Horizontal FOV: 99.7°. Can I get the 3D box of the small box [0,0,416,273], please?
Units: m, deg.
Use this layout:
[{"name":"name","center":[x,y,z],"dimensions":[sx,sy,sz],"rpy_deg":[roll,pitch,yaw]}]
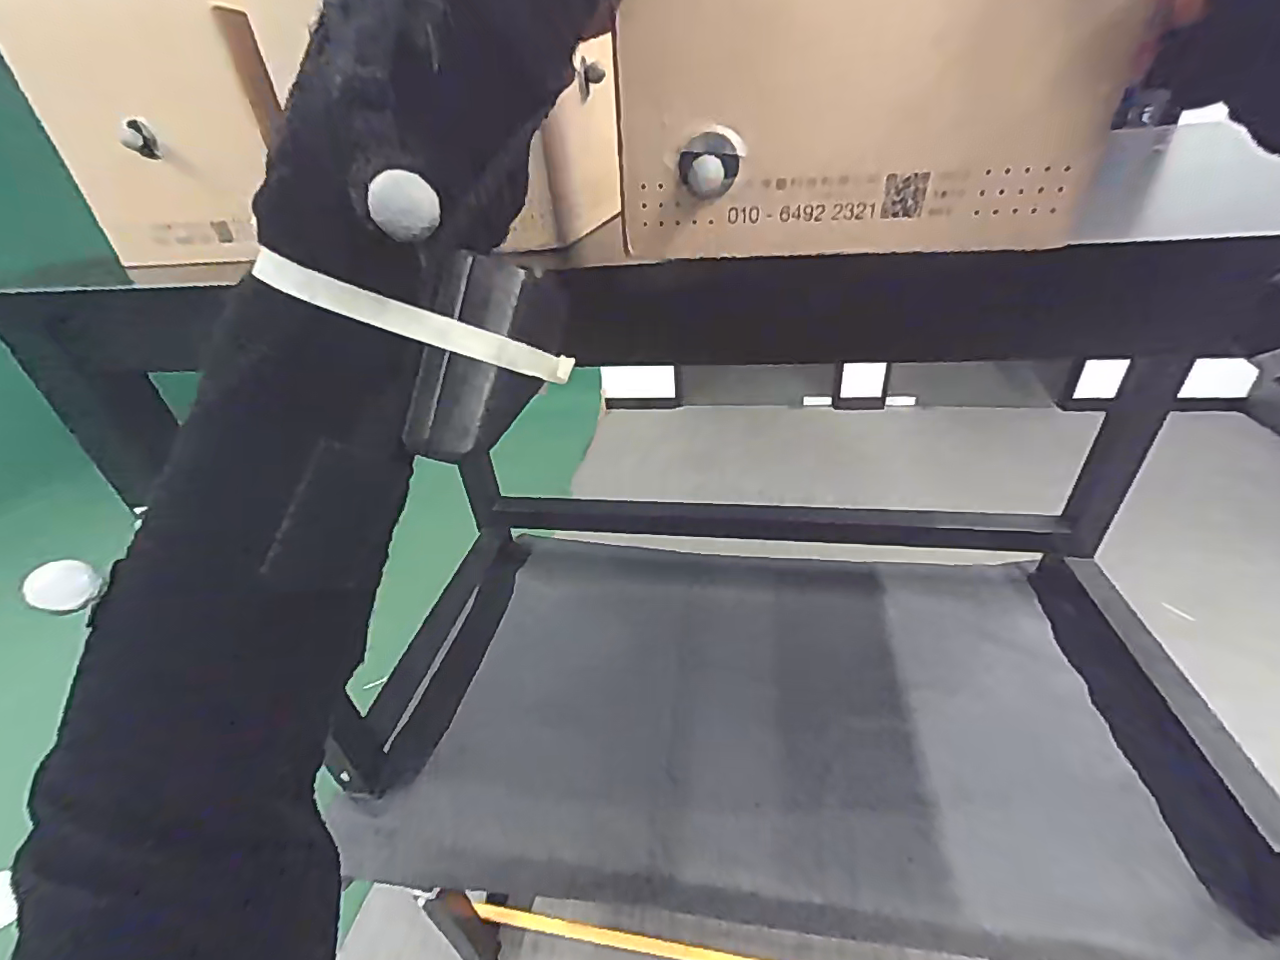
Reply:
[{"name":"small box","center":[-0.310,-0.269,0.433],"dimensions":[0.168,0.176,0.179],"rpy_deg":[2,33,11]}]
